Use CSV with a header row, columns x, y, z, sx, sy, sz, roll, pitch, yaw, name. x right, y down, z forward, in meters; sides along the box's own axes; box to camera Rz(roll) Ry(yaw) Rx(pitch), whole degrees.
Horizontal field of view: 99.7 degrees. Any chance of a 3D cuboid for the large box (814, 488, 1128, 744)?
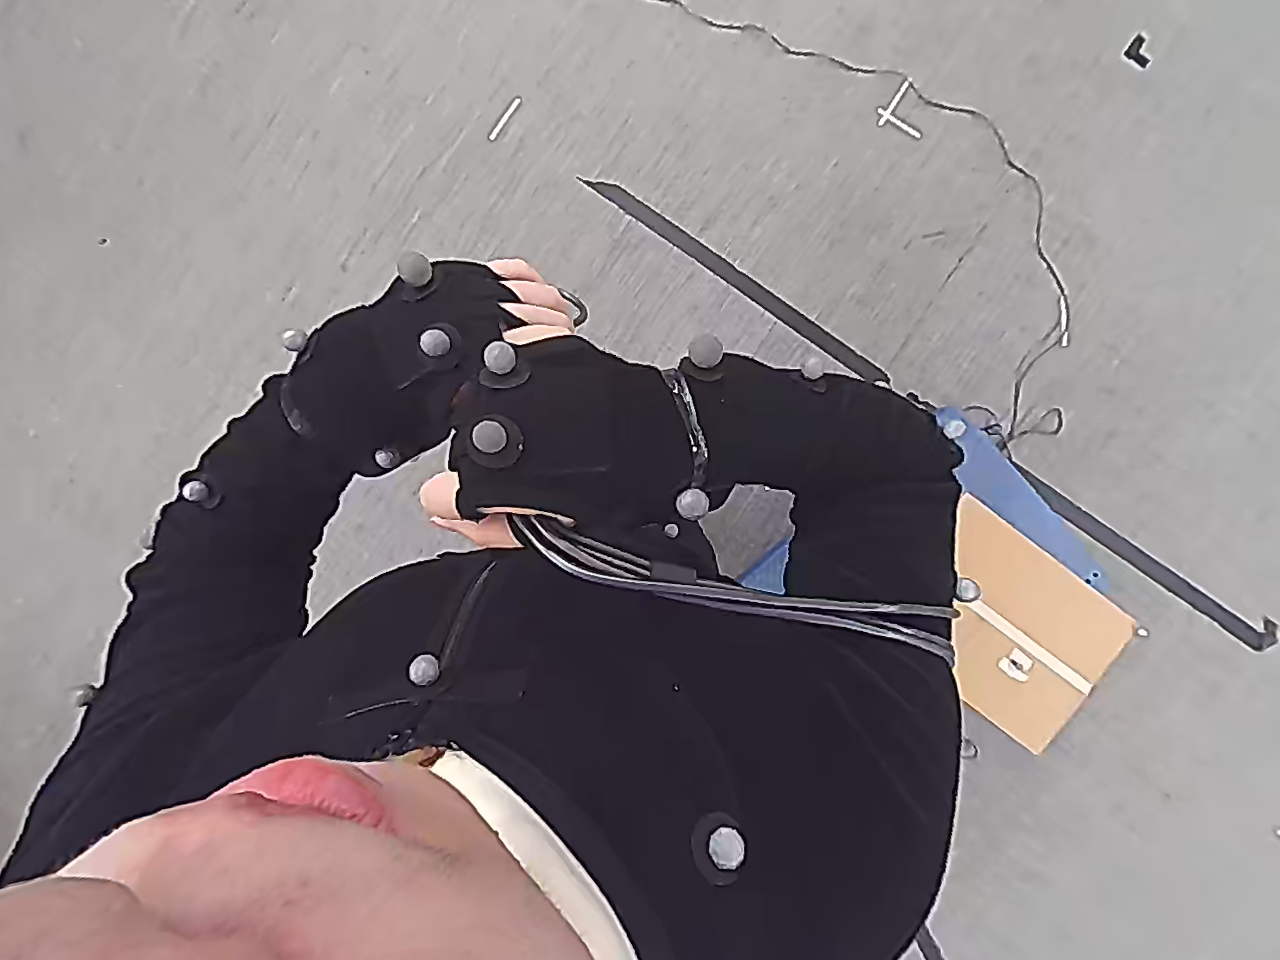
x,y,z,sx,sy,sz,roll,pitch,yaw,name
0.658,0.253,1.151,0.408,0.320,0.320,38,92,0,large box
